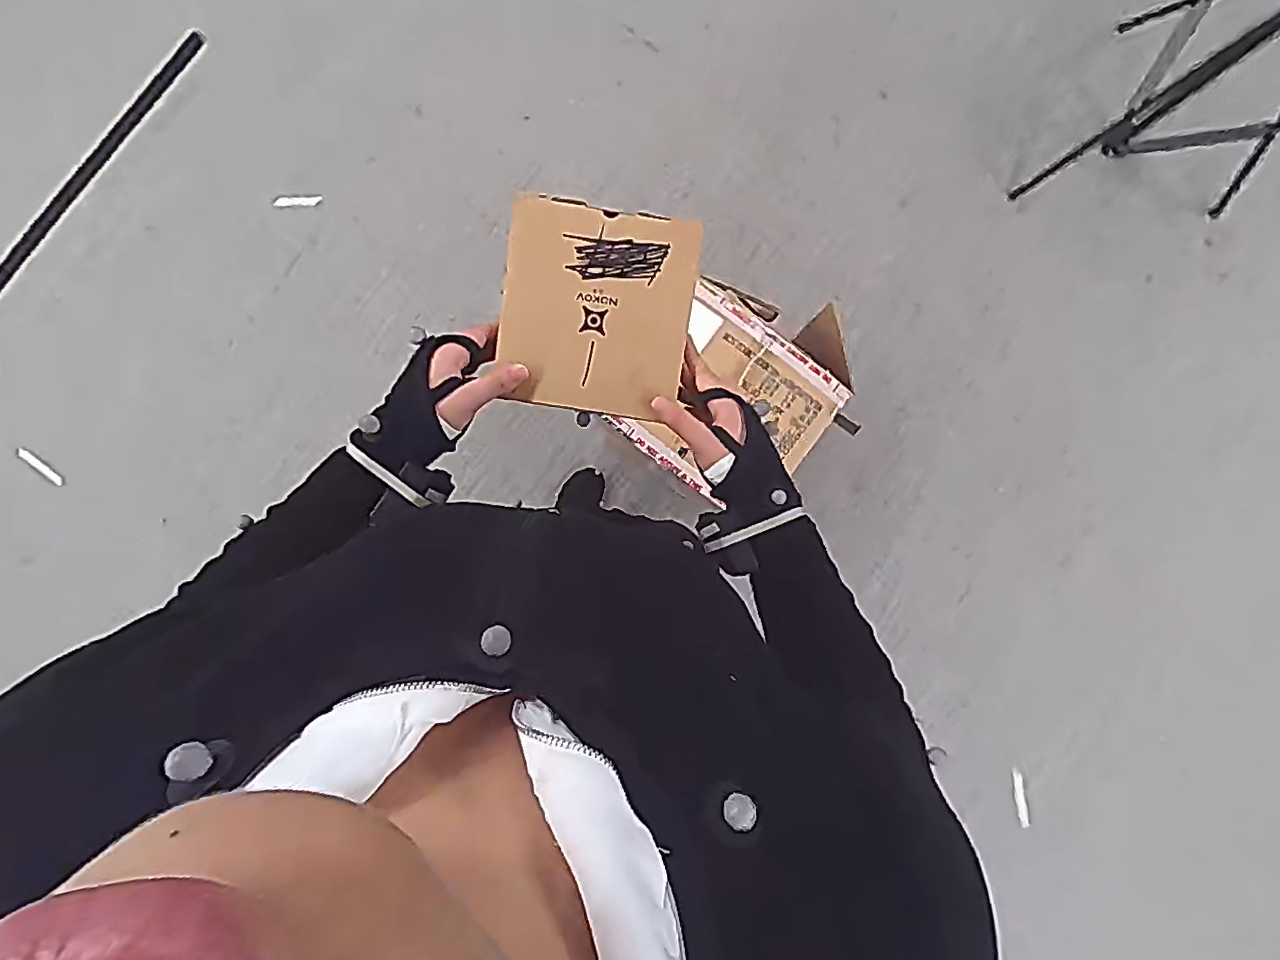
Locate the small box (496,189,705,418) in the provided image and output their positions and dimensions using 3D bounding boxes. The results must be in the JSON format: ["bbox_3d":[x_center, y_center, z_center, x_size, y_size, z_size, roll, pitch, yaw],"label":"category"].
[{"bbox_3d":[-0.039,-0.162,0.554,0.168,0.176,0.179,8,97,-3],"label":"small box"}]
